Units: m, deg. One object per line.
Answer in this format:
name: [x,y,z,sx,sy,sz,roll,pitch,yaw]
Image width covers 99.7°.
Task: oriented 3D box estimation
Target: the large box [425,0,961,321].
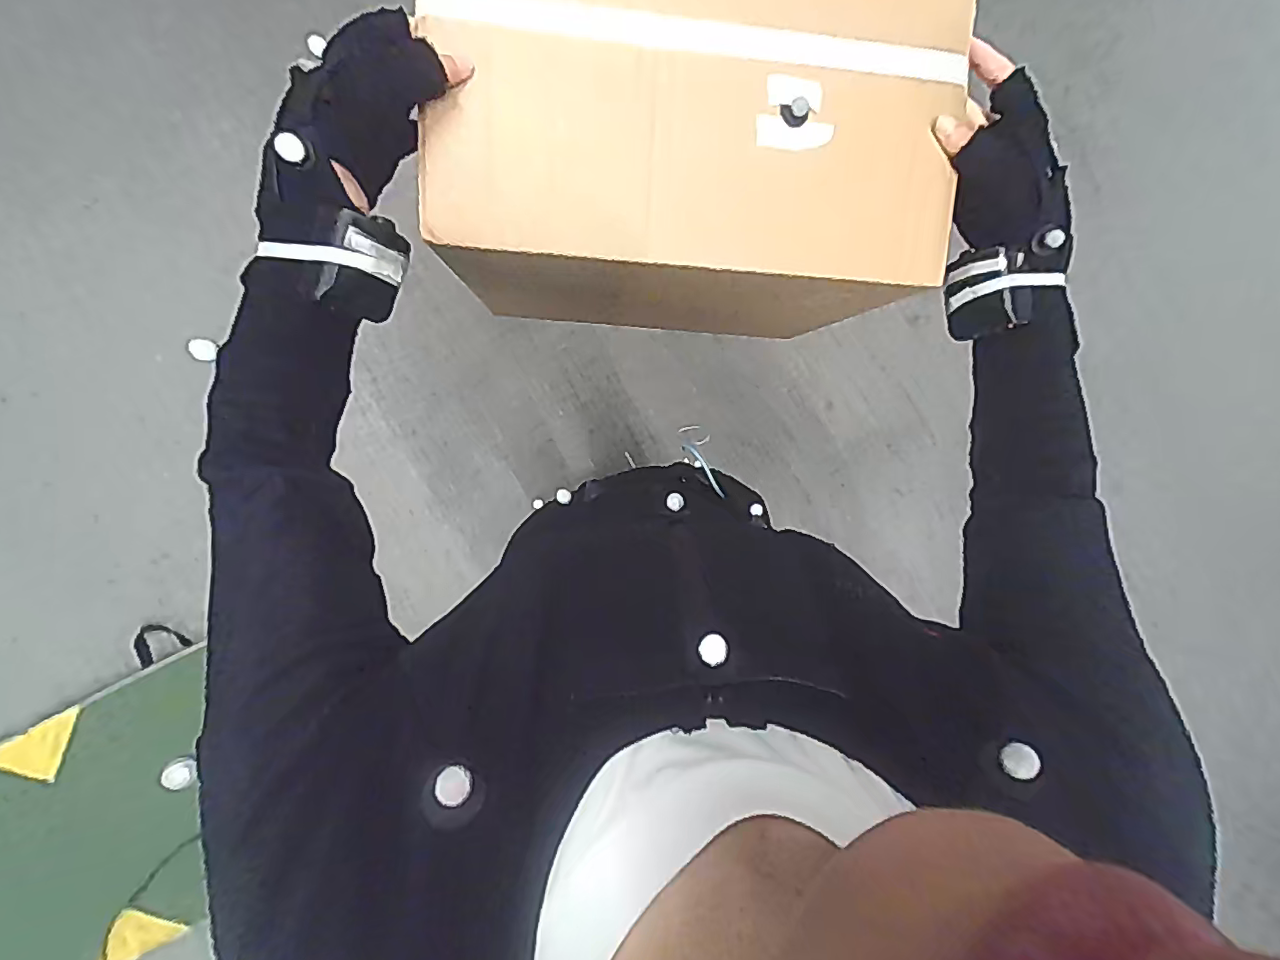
large box: [0.027,-0.348,0.542,0.408,0.320,0.320,1,98,-8]
